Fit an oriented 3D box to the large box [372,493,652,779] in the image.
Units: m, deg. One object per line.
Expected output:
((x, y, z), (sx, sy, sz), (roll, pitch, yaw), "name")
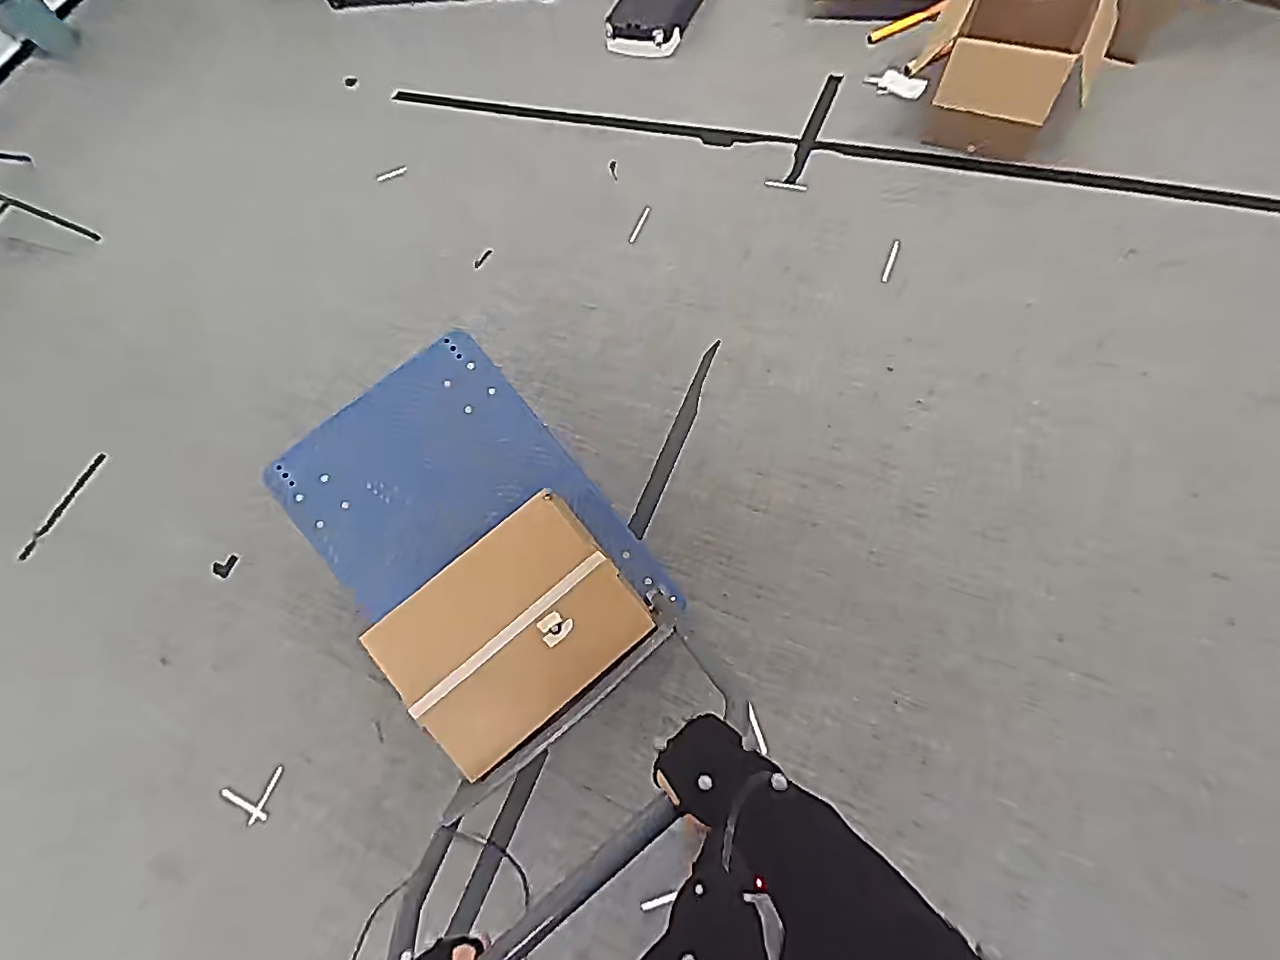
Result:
((-0.229, 0.287, 1.092), (0.408, 0.320, 0.320), (-41, 87, -7), "large box")
